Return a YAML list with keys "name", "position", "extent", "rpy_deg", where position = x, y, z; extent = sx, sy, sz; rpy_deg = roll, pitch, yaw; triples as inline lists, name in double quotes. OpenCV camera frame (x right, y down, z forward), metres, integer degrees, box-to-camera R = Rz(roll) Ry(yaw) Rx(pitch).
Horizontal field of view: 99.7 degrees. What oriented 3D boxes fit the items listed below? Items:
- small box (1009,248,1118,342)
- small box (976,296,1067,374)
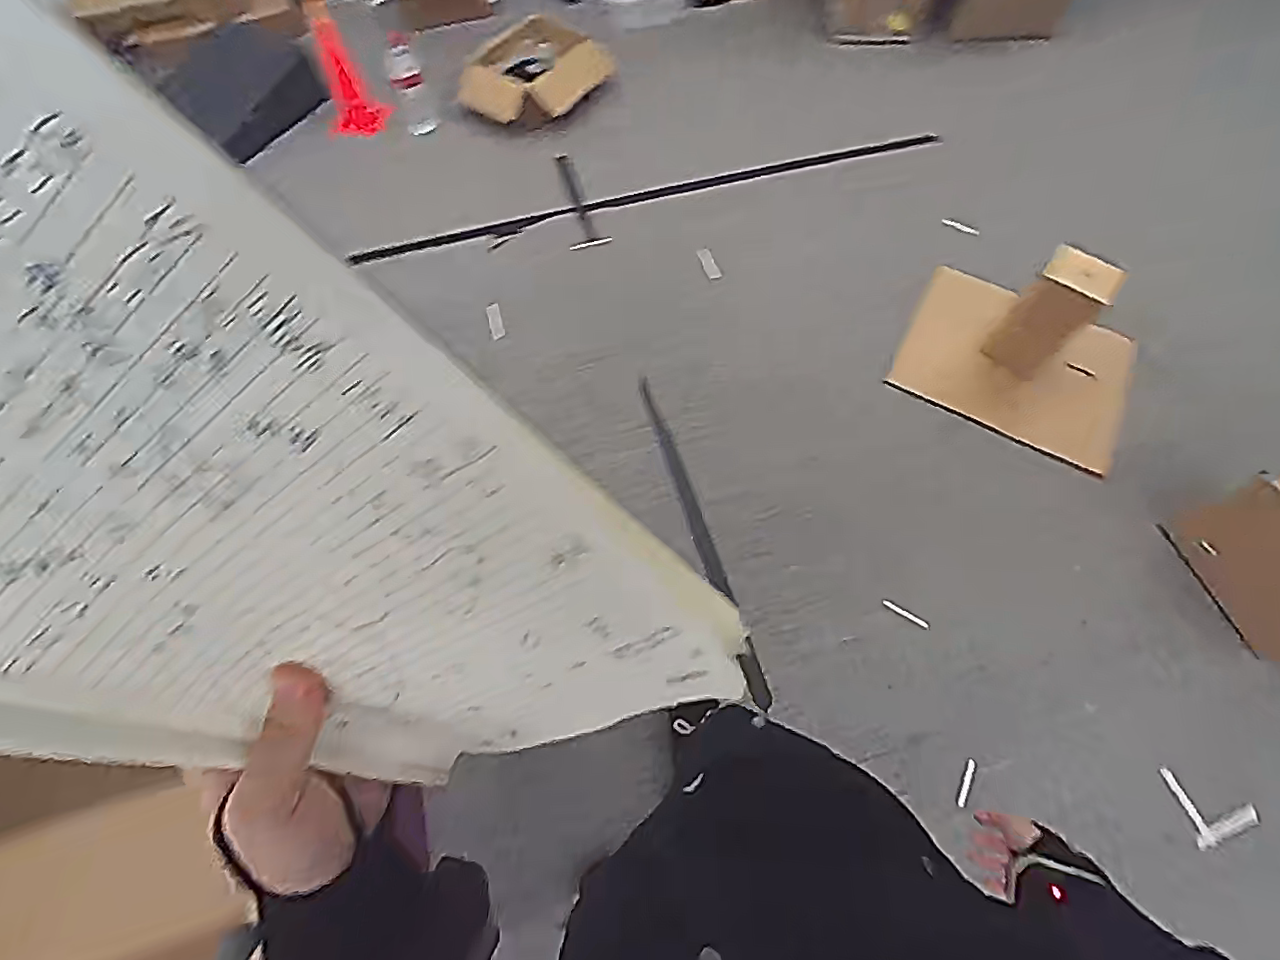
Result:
- name: "small box"
  position: [1.244, -0.541, 1.600]
  extent: [0.179, 0.176, 0.168]
  rpy_deg: [34, 67, 12]
- name: "small box"
  position: [1.241, -0.469, 1.746]
  extent: [0.179, 0.176, 0.168]
  rpy_deg: [32, 67, 11]
